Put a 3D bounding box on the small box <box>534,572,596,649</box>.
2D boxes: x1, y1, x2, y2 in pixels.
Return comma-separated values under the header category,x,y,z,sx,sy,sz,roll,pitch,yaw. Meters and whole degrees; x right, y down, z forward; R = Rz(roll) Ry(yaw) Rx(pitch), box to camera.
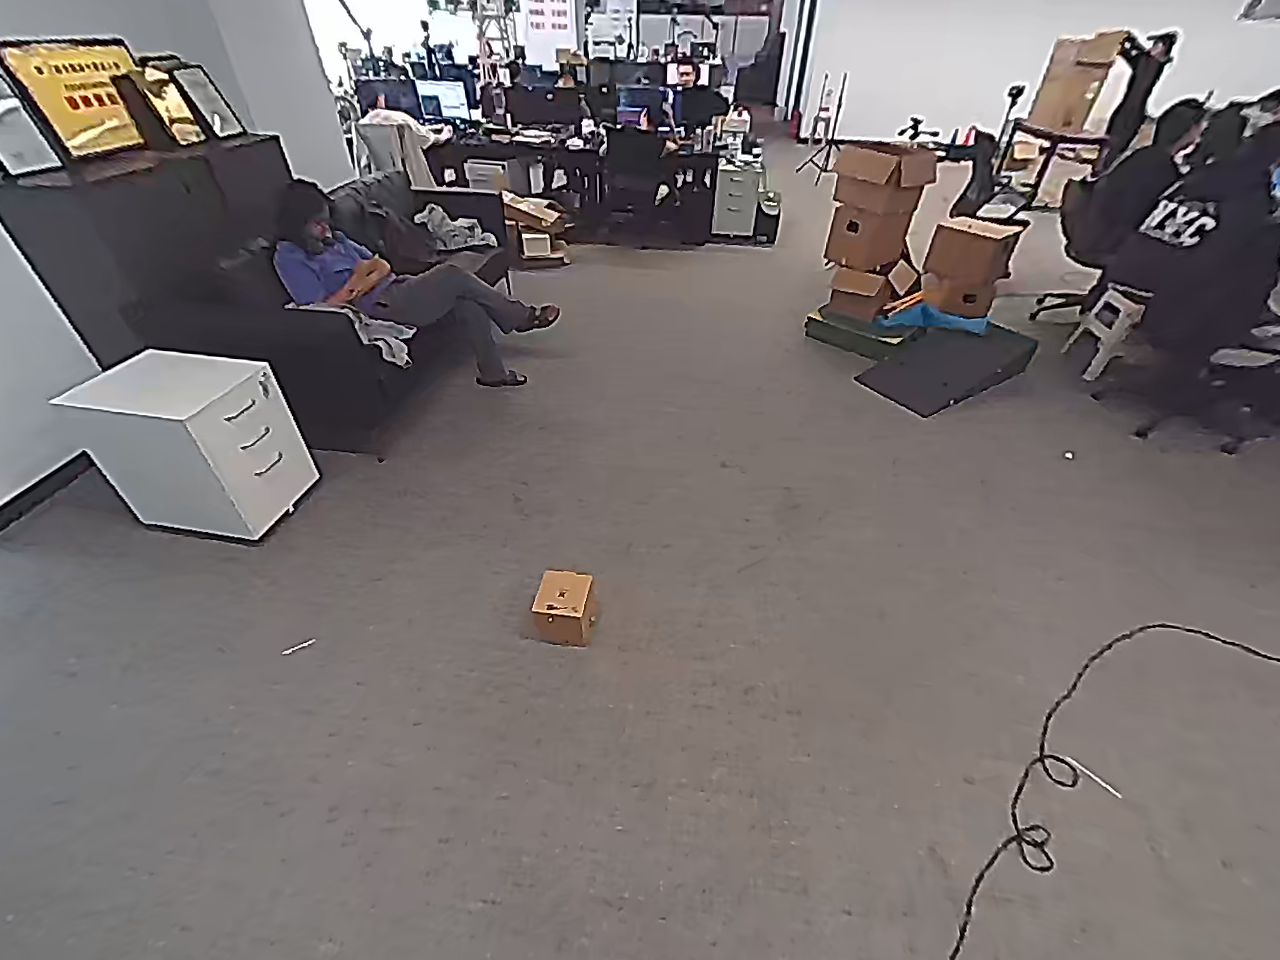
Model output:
category,x,y,z,sx,sy,sz,roll,pitch,yaw
small box,-0.246,0.438,1.820,0.168,0.176,0.179,6,39,7
